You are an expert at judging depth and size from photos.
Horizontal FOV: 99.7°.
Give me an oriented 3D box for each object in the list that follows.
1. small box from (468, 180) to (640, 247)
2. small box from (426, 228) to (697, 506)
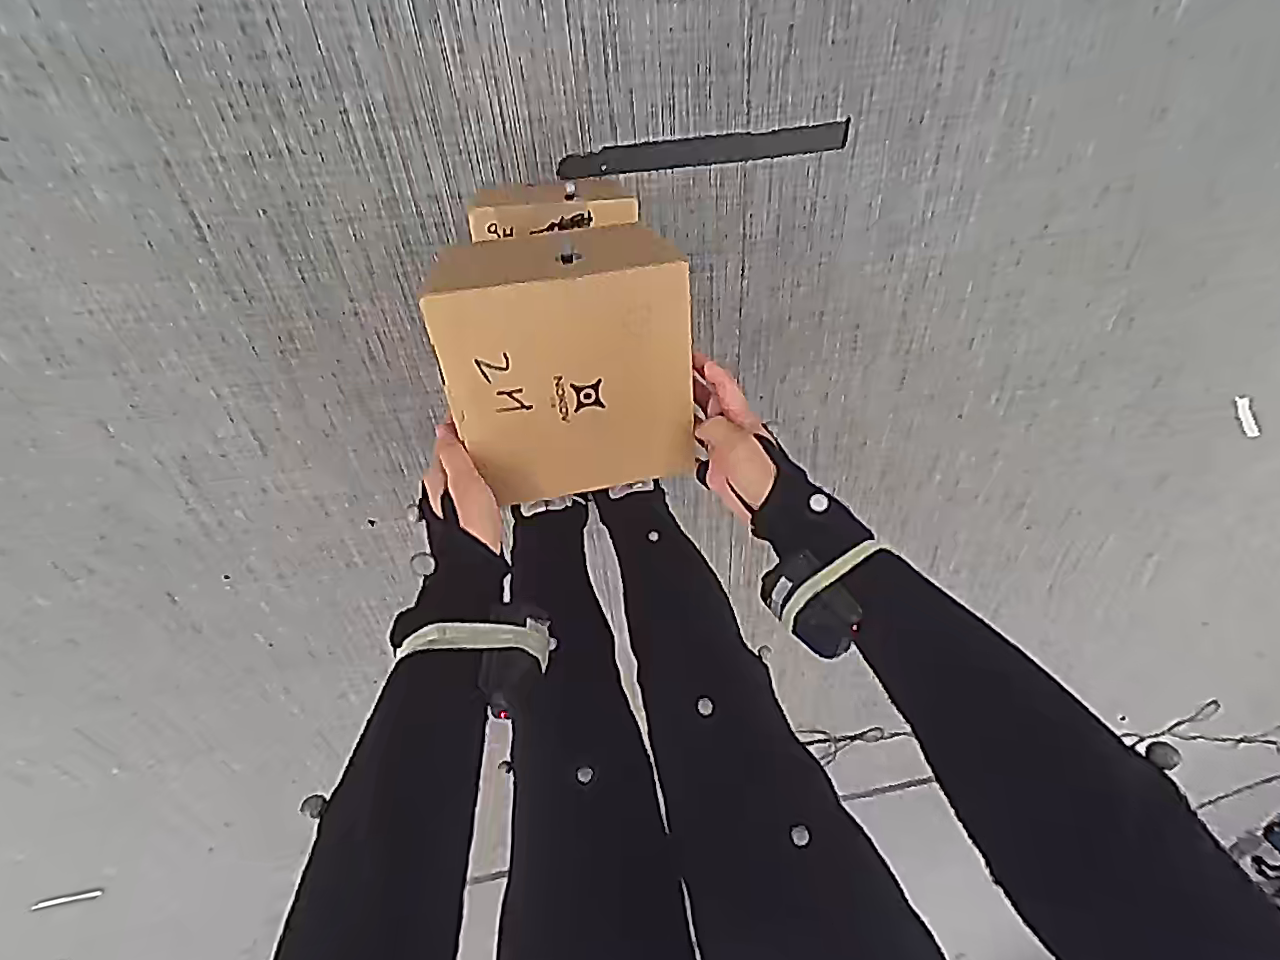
[{"bbox_3d":[-0.093,-0.236,0.627,0.168,0.176,0.179,-7,126,-8],"label":"small box"},{"bbox_3d":[-0.060,-0.104,0.454,0.179,0.176,0.168,-10,124,-6],"label":"small box"}]
